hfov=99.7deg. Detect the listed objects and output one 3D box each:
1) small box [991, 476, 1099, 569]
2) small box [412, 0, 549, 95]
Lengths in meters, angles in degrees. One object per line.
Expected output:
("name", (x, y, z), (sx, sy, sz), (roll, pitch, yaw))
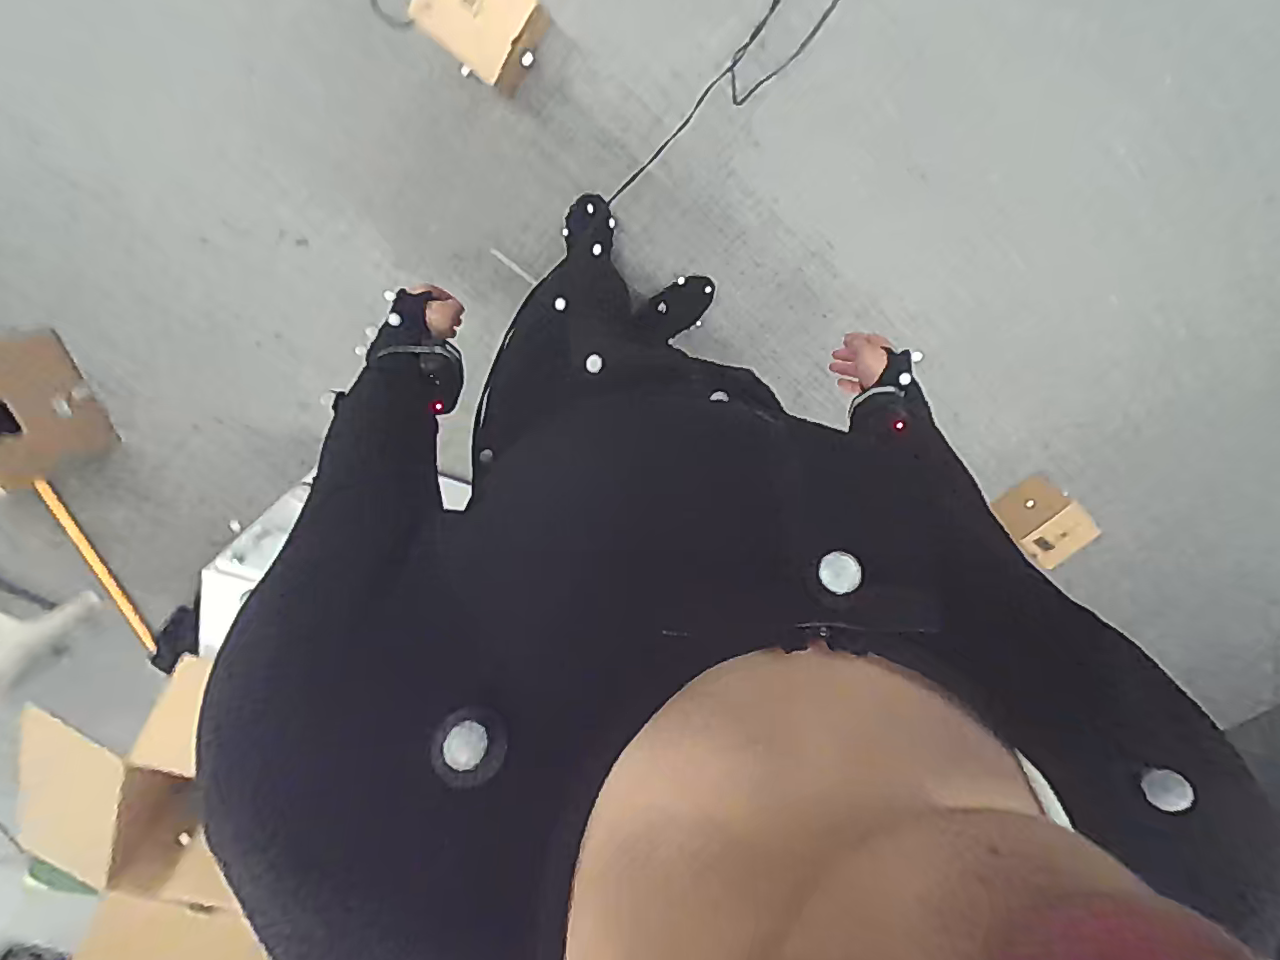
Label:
("small box", (1.193, 0.122, 1.613), (0.168, 0.176, 0.179), (38, 111, -20))
("small box", (-0.287, -0.864, 1.017), (0.179, 0.176, 0.168), (34, 112, -19))
